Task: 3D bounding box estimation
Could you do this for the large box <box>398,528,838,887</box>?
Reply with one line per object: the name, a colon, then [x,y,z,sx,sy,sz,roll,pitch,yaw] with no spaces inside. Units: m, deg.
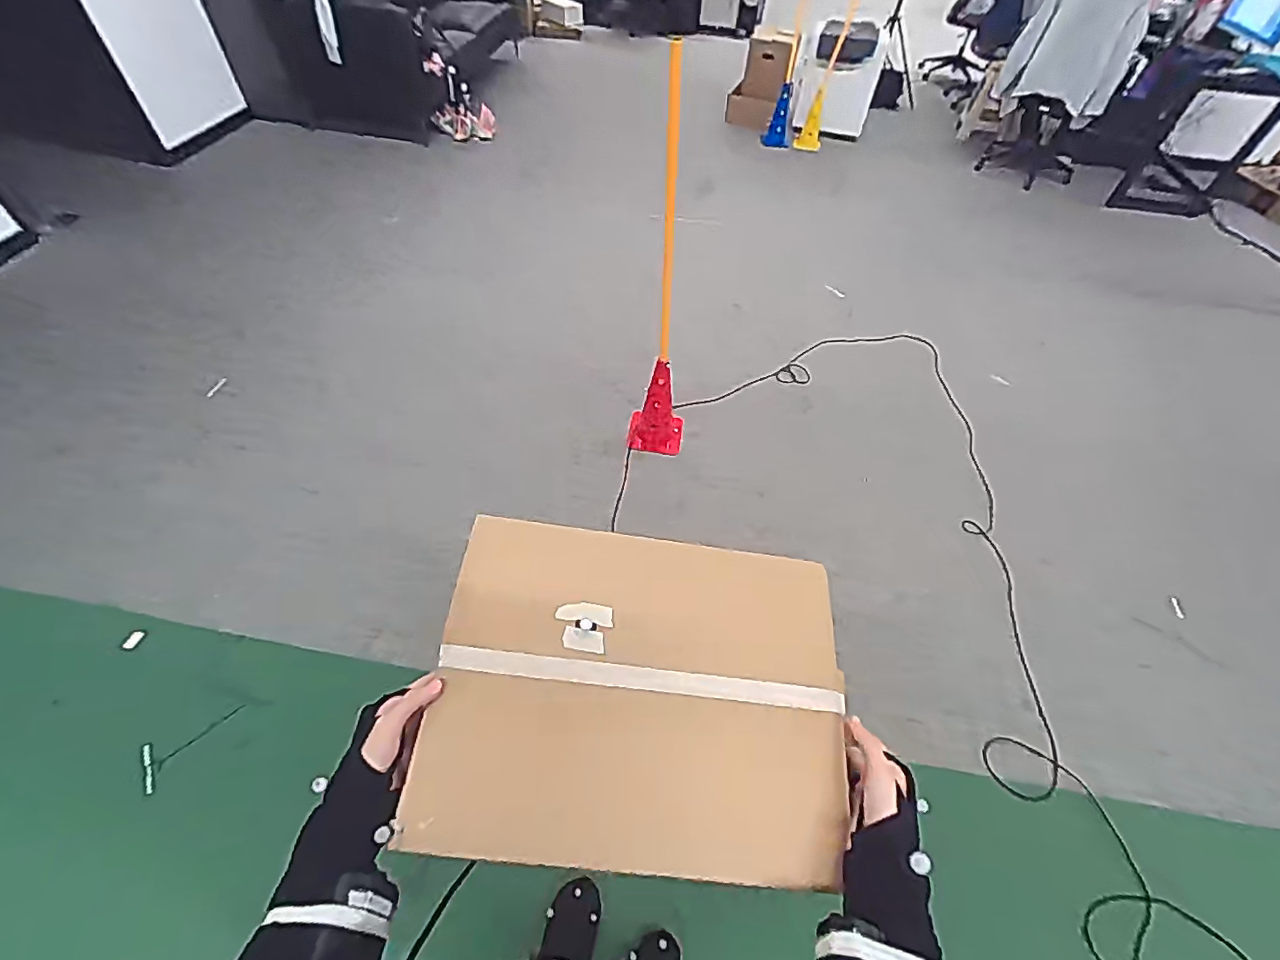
large box: [-0.018,0.283,0.681,0.408,0.320,0.320,8,59,-3]
